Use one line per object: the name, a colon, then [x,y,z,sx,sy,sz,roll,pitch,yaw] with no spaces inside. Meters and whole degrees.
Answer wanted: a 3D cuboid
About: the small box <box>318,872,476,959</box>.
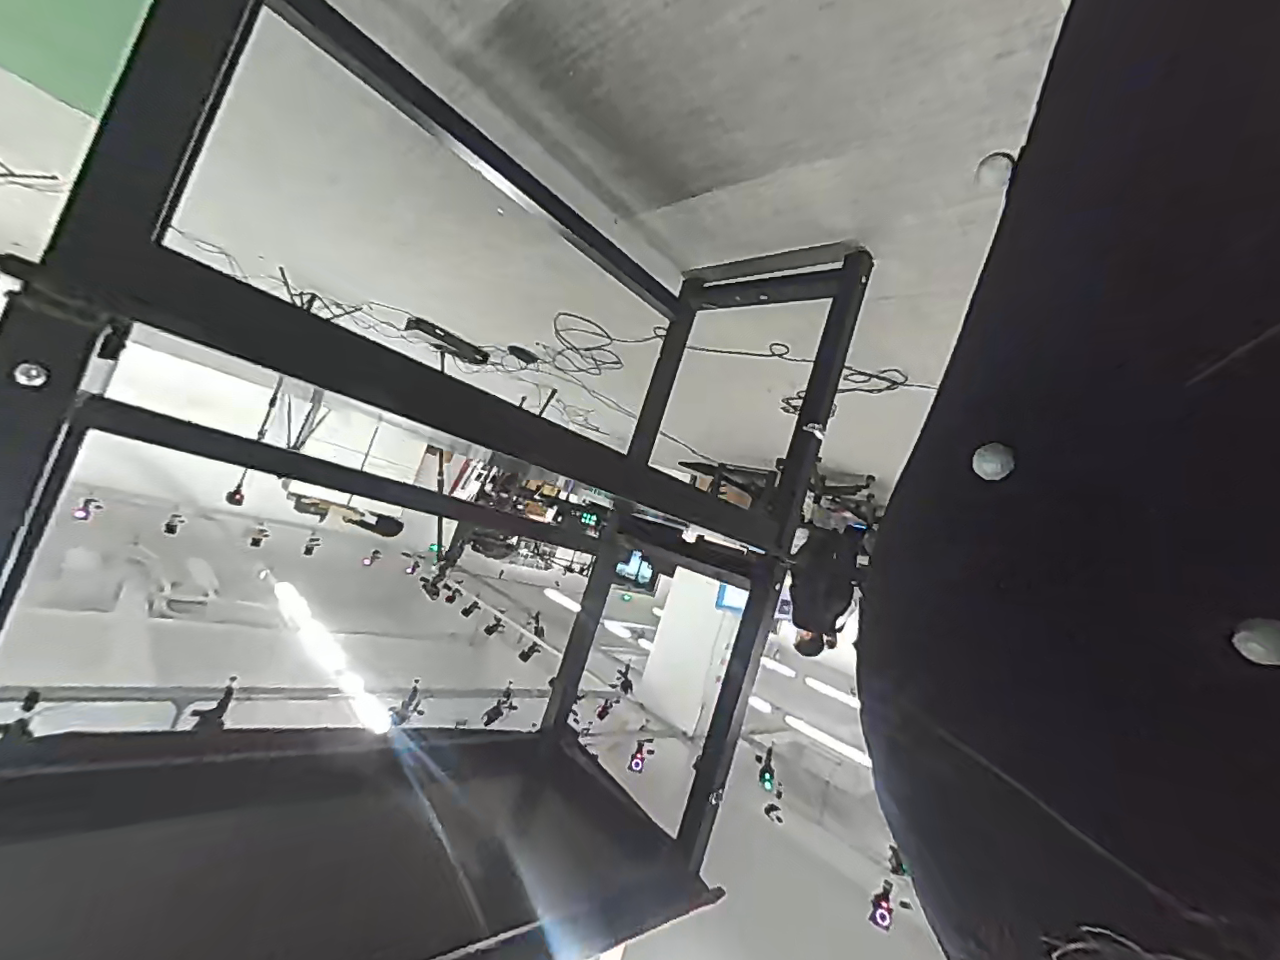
small box: [-0.391,0.772,0.861,0.168,0.176,0.179,15,174,46]
